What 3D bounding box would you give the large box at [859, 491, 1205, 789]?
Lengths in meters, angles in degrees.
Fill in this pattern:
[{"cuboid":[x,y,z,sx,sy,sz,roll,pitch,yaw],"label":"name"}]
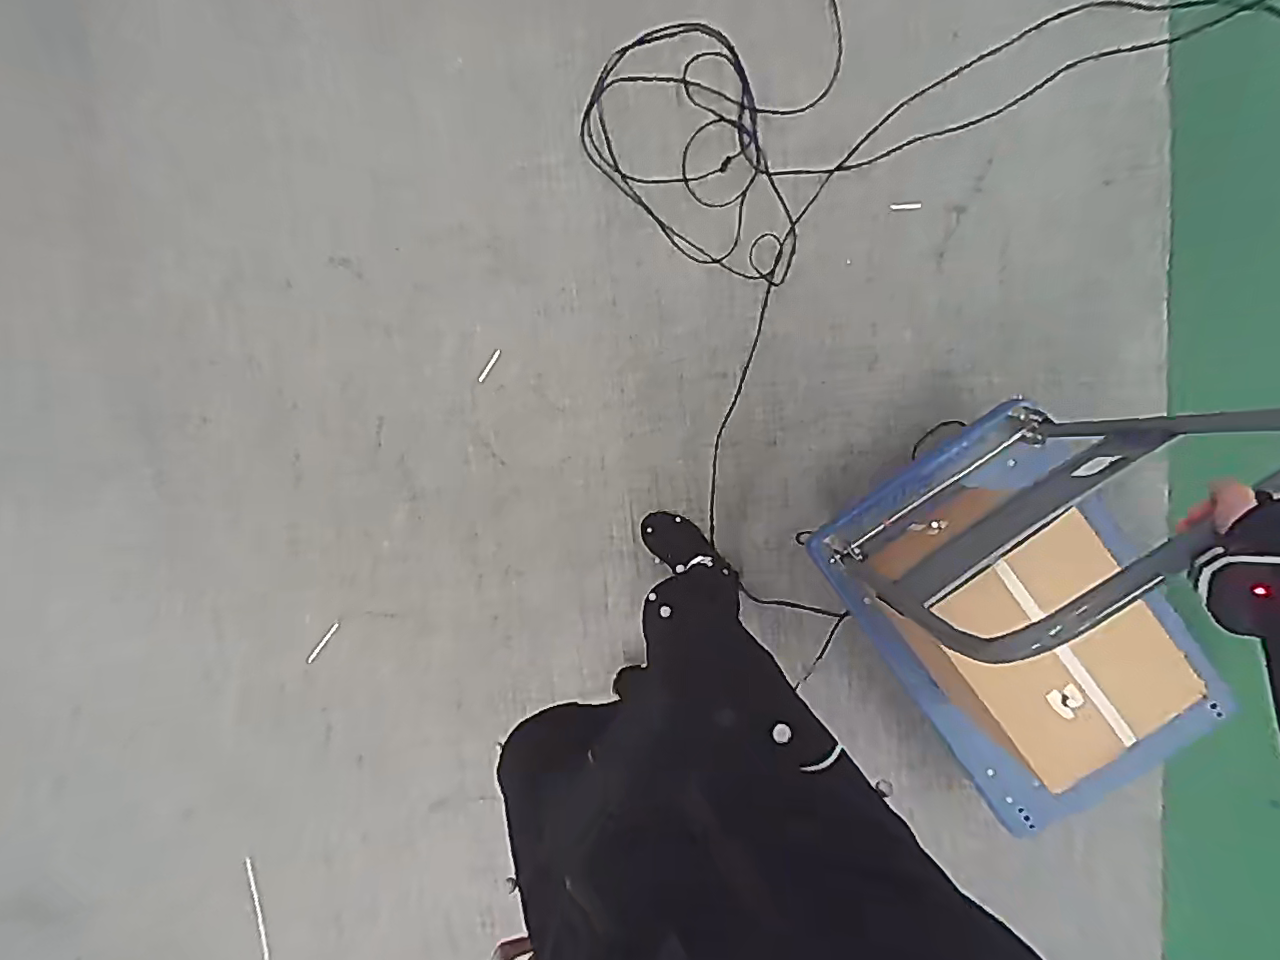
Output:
[{"cuboid":[0.719,0.278,1.061,0.320,0.320,0.408,-38,93,4],"label":"large box"}]
